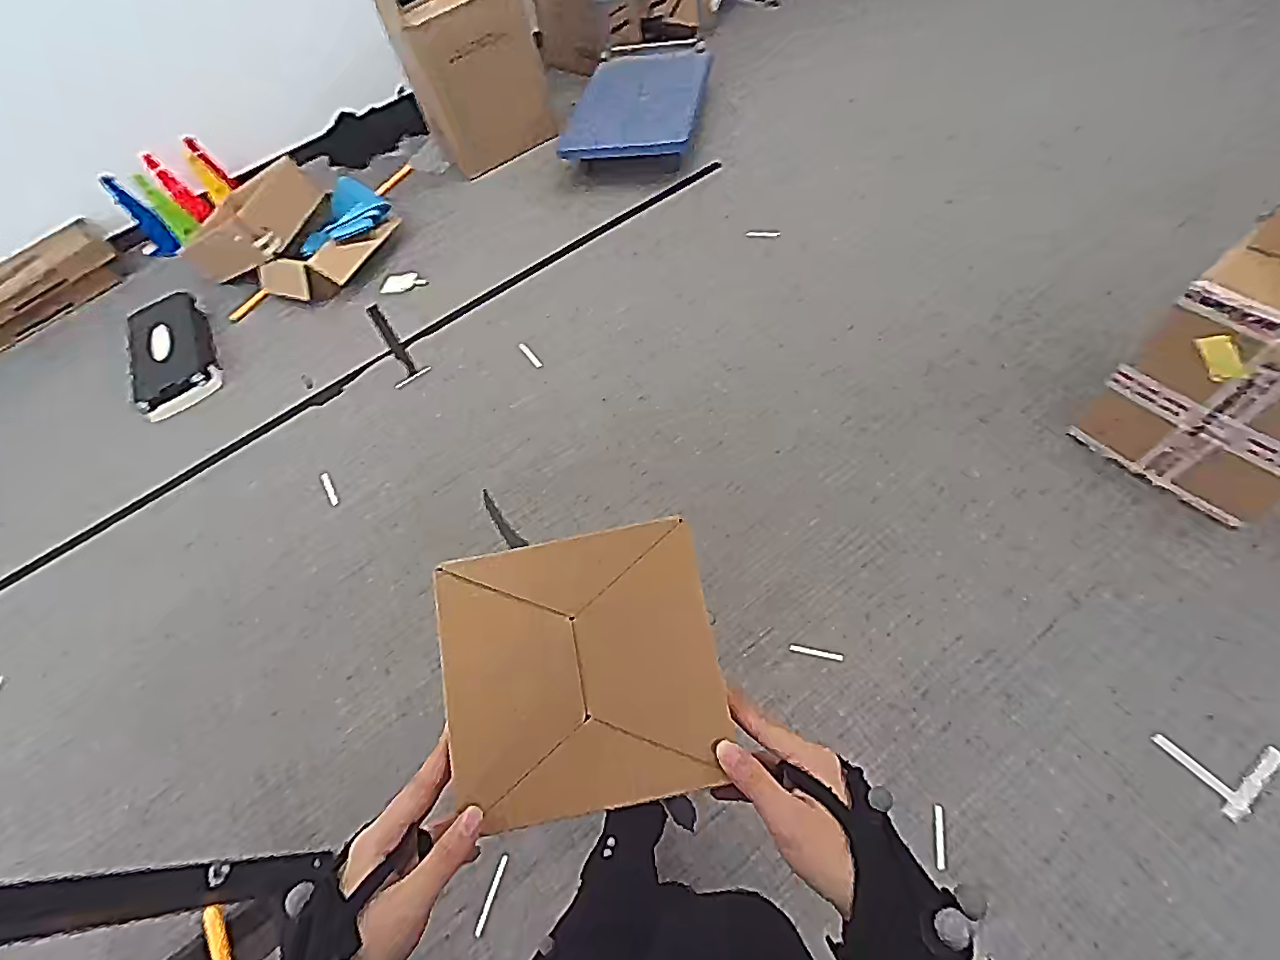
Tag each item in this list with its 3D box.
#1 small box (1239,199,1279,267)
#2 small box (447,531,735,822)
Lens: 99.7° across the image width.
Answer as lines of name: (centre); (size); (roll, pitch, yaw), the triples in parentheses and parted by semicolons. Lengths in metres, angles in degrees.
small box: (1.278, -0.493, 0.973); (0.168, 0.176, 0.179); (-38, 57, -12)
small box: (-0.036, 0.144, 0.427); (0.179, 0.176, 0.168); (-11, 74, -1)
